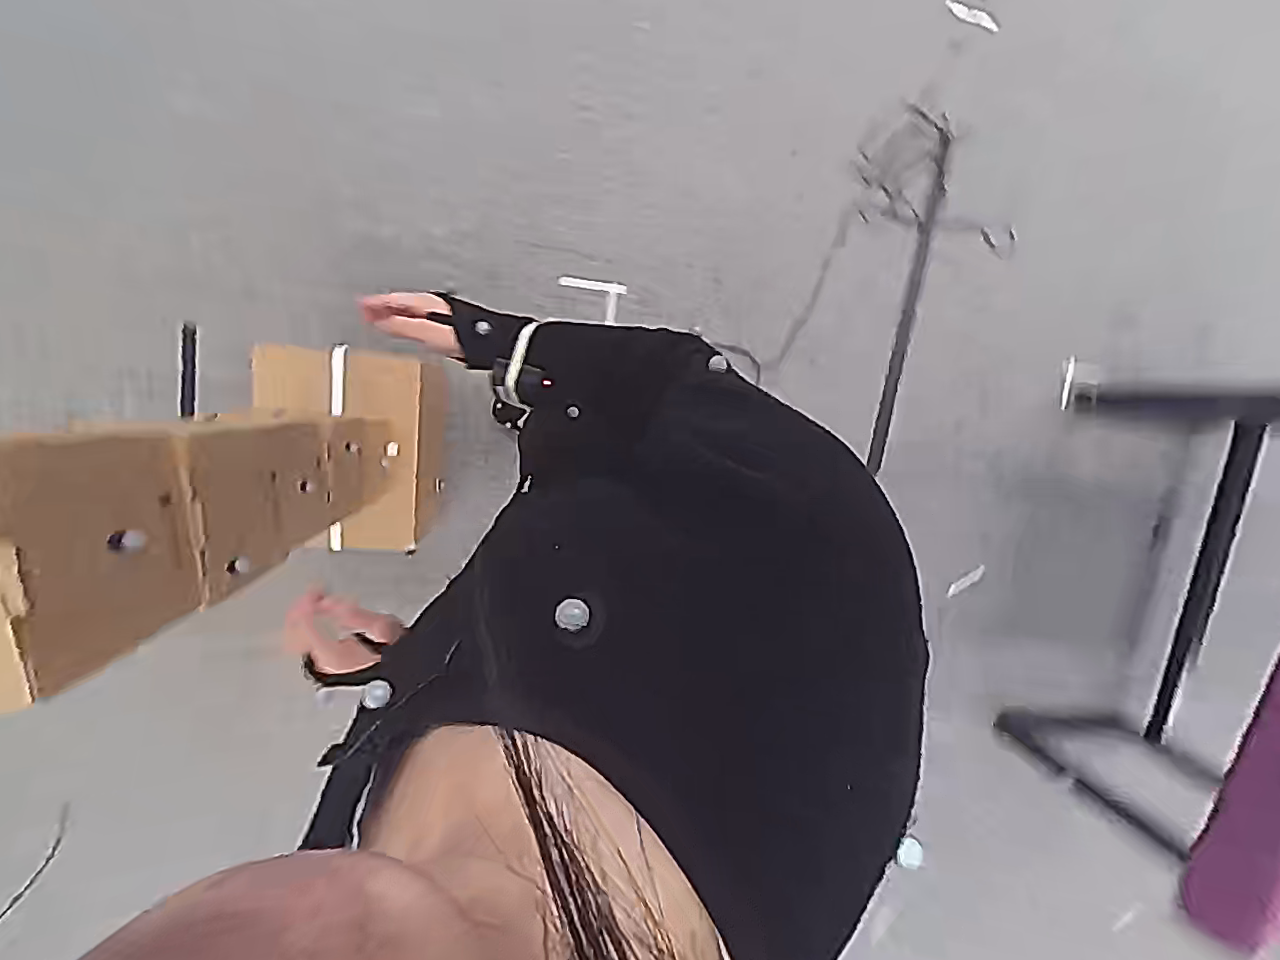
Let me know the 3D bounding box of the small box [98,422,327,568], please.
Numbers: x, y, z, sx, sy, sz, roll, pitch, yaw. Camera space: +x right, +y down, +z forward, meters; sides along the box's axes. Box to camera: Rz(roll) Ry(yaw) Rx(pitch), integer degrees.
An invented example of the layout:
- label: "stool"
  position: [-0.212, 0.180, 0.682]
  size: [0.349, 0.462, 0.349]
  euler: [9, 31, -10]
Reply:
- label: "small box"
  position: [-0.526, 0.011, 0.698]
  size: [0.179, 0.176, 0.168]
  euler: [-2, 98, -10]

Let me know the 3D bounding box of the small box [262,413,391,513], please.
- label: "small box"
  position: [-0.585, -0.037, 1.016]
  size: [0.179, 0.176, 0.168]
  euler: [3, 98, -11]

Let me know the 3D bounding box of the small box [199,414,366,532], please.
- label: "small box"
  position: [-0.551, -0.017, 0.859]
  size: [0.179, 0.176, 0.168]
  euler: [2, 97, -10]

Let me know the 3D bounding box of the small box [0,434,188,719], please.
- label: "small box"
  position: [-0.464, 0.058, 0.379]
  size: [0.179, 0.176, 0.168]
  euler: [-6, 98, -11]
